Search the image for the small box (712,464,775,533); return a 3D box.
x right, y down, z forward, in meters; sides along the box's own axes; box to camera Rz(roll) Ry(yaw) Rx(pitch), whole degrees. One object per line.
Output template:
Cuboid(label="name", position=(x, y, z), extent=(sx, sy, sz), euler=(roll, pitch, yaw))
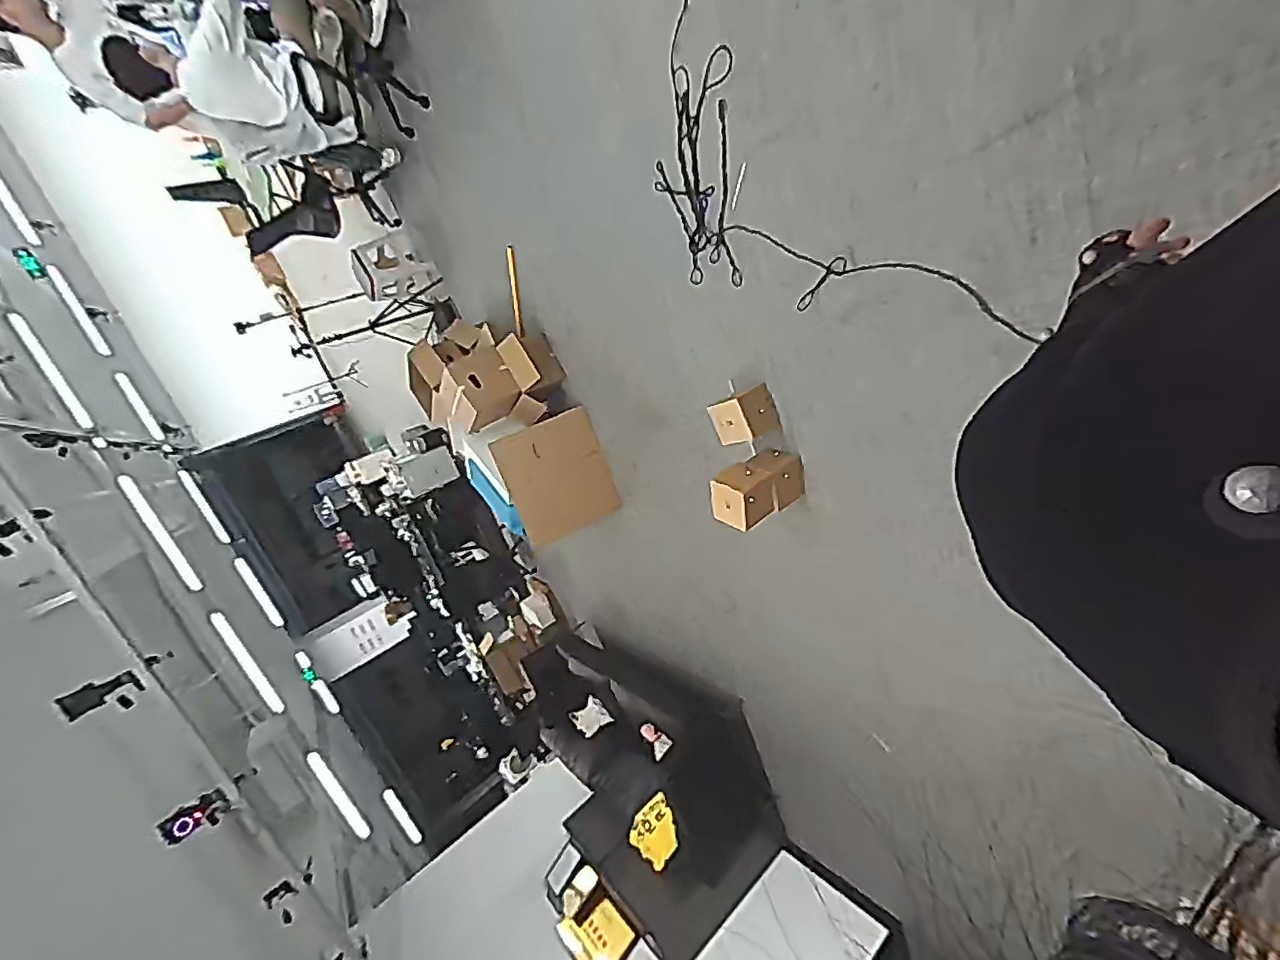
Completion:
Cuboid(label="small box", position=(0.396, 0.066, 2.046), extent=(0.168, 0.176, 0.179), euler=(26, 135, 46))

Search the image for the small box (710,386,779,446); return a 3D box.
Cuboid(label="small box", position=(0.407, -0.247, 2.075), extent=(0.179, 0.176, 0.168), euler=(-9, 109, 59))
